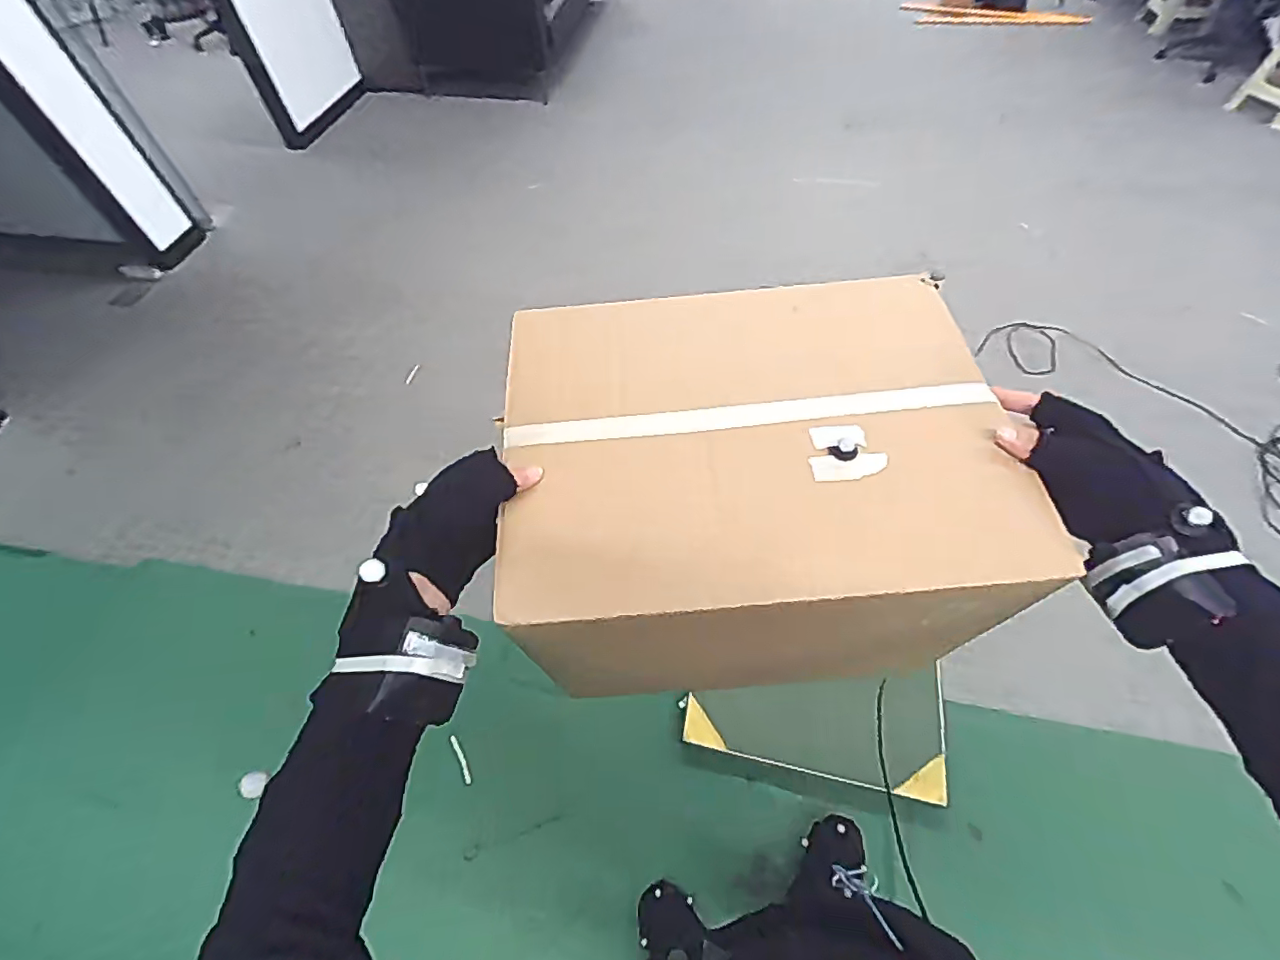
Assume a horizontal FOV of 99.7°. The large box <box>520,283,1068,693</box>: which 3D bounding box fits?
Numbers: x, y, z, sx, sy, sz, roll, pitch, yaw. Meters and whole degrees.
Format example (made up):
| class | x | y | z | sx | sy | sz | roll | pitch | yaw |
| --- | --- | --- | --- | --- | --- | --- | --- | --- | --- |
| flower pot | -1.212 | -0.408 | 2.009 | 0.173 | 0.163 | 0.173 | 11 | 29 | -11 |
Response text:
| class | x | y | z | sx | sy | sz | roll | pitch | yaw |
| --- | --- | --- | --- | --- | --- | --- | --- | --- | --- |
| large box | 0.104 | 0.027 | 0.587 | 0.408 | 0.320 | 0.320 | -4 | 59 | 0 |
